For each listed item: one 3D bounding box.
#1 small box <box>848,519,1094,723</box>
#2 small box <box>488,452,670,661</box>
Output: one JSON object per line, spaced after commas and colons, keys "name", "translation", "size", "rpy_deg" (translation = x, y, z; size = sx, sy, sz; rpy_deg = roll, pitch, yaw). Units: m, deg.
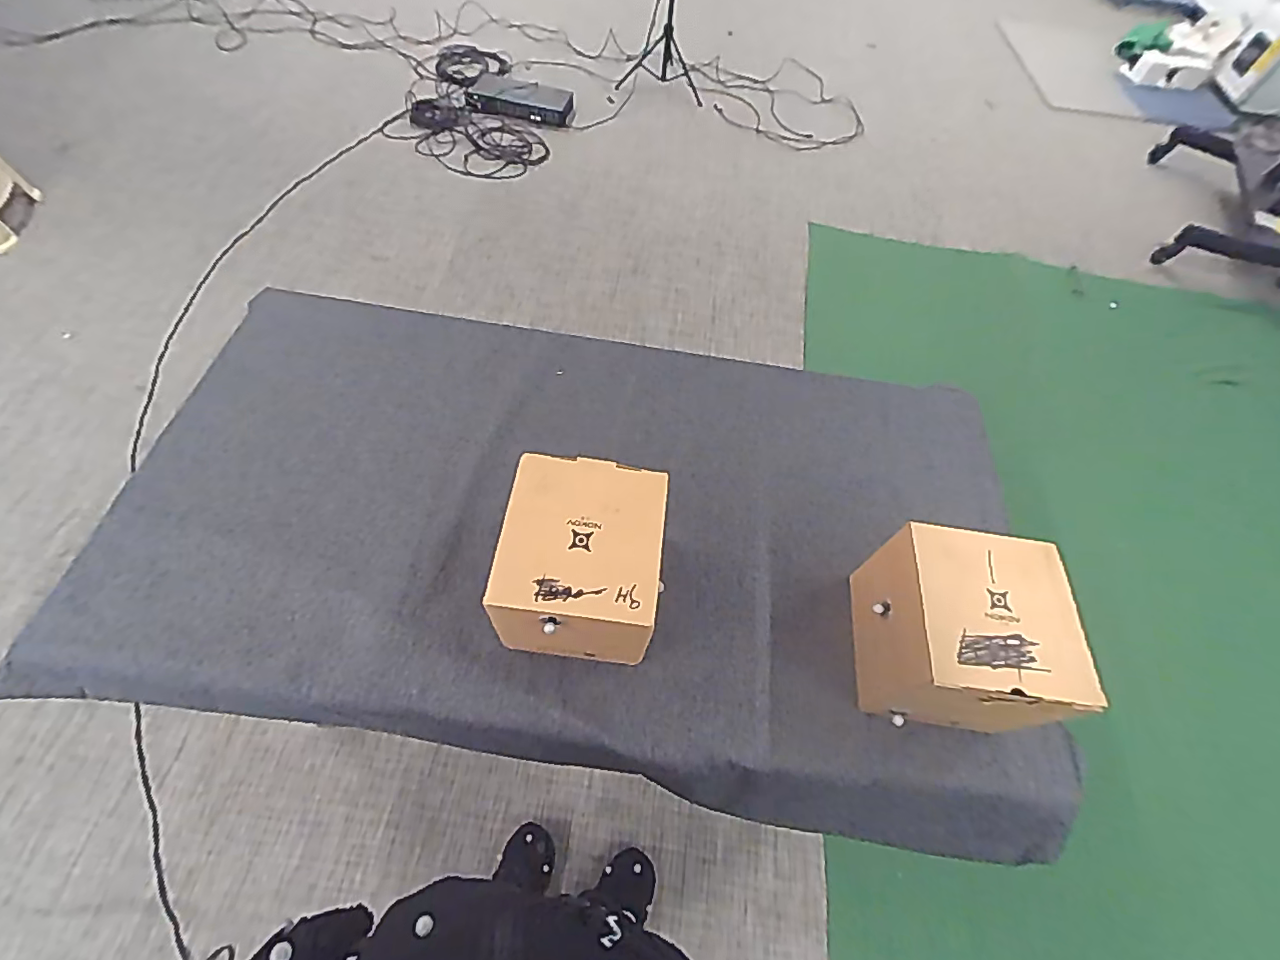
{"name": "small box", "translation": [0.356, 0.170, 0.624], "size": [0.168, 0.176, 0.179], "rpy_deg": [9, 57, 0]}
{"name": "small box", "translation": [-0.065, 0.094, 0.629], "size": [0.168, 0.176, 0.179], "rpy_deg": [8, 58, -1]}
